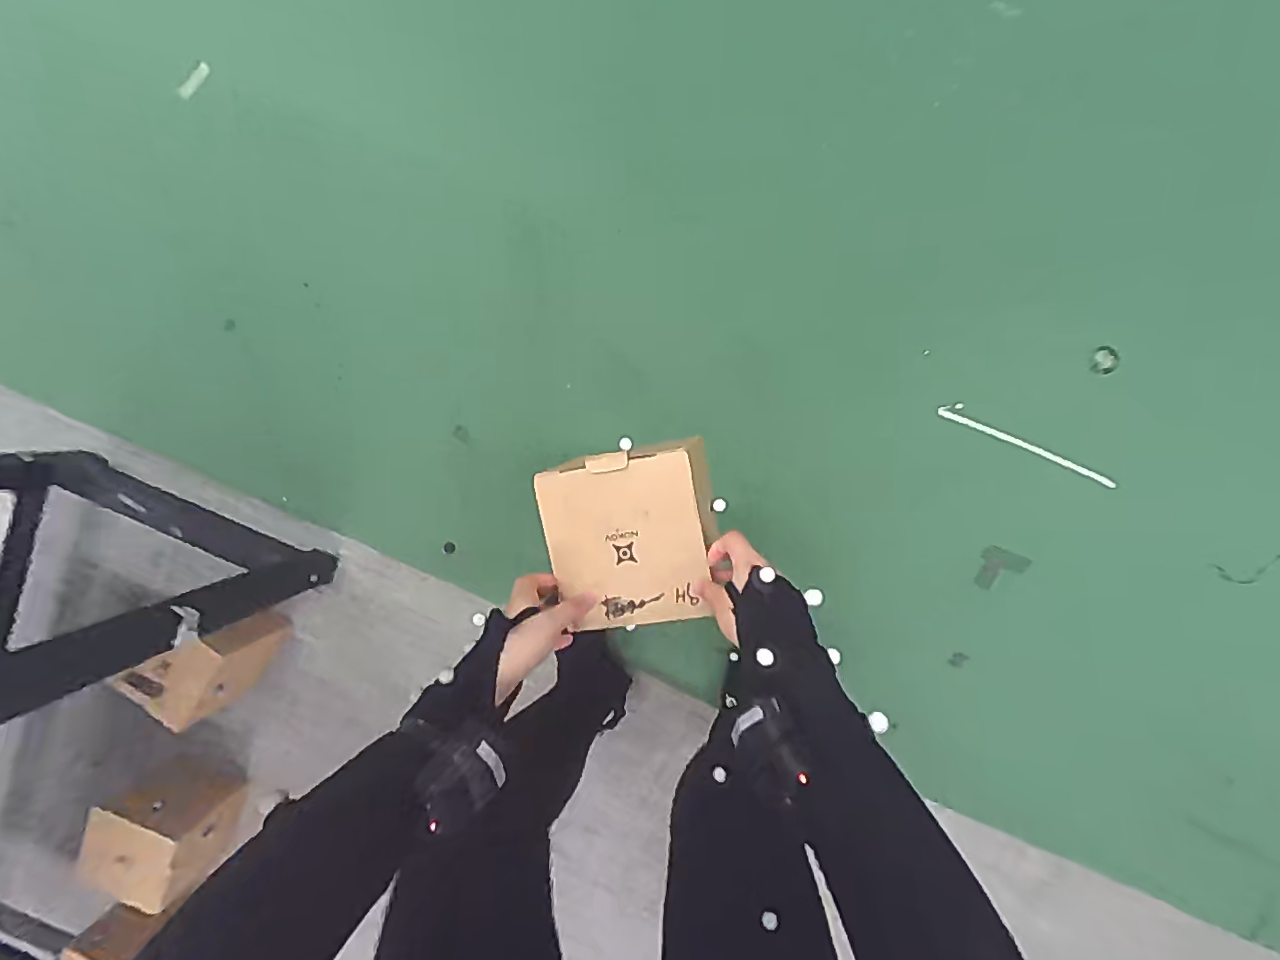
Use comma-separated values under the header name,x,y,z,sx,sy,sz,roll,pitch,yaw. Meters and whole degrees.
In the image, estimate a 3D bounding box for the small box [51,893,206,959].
name,x,y,z,sx,sy,sz,roll,pitch,yaw
small box,-1.047,0.975,1.103,0.179,0.176,0.168,28,98,2

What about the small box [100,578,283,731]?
name,x,y,z,sx,sy,sz,roll,pitch,yaw
small box,-0.818,0.313,1.005,0.168,0.176,0.179,36,97,0

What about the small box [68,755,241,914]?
name,x,y,z,sx,sy,sz,roll,pitch,yaw
small box,-0.936,0.679,1.058,0.179,0.176,0.168,21,97,4

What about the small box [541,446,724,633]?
name,x,y,z,sx,sy,sz,roll,pitch,yaw
small box,0.003,0.058,0.633,0.168,0.176,0.179,-9,97,13
